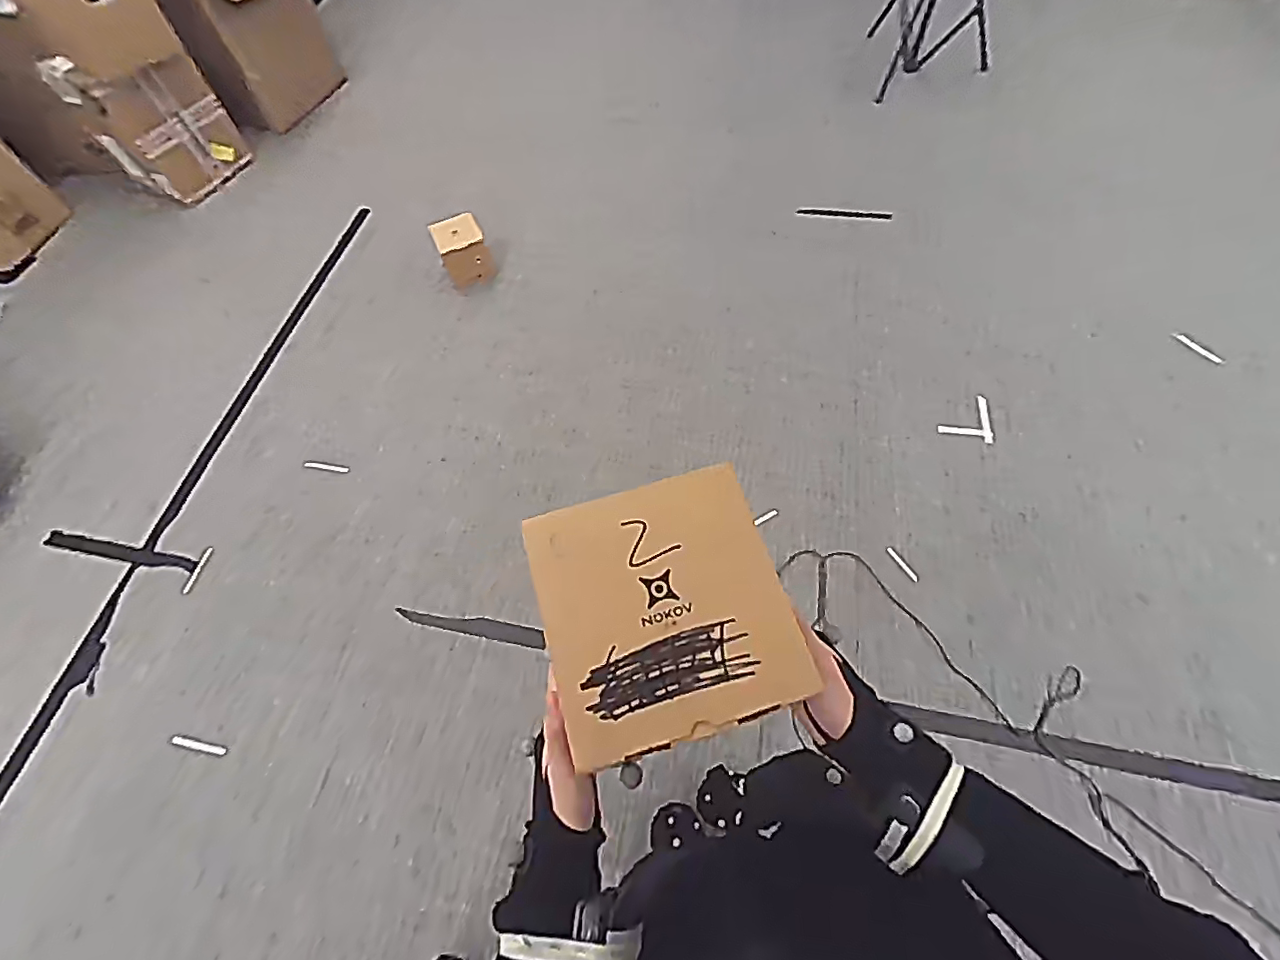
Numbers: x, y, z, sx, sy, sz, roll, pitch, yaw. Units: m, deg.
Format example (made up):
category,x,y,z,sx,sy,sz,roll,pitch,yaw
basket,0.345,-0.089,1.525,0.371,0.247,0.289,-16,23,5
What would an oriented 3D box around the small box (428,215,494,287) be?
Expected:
category,x,y,z,sx,sy,sz,roll,pitch,yaw
small box,-0.673,-0.857,2.045,0.168,0.176,0.179,-25,62,-11
